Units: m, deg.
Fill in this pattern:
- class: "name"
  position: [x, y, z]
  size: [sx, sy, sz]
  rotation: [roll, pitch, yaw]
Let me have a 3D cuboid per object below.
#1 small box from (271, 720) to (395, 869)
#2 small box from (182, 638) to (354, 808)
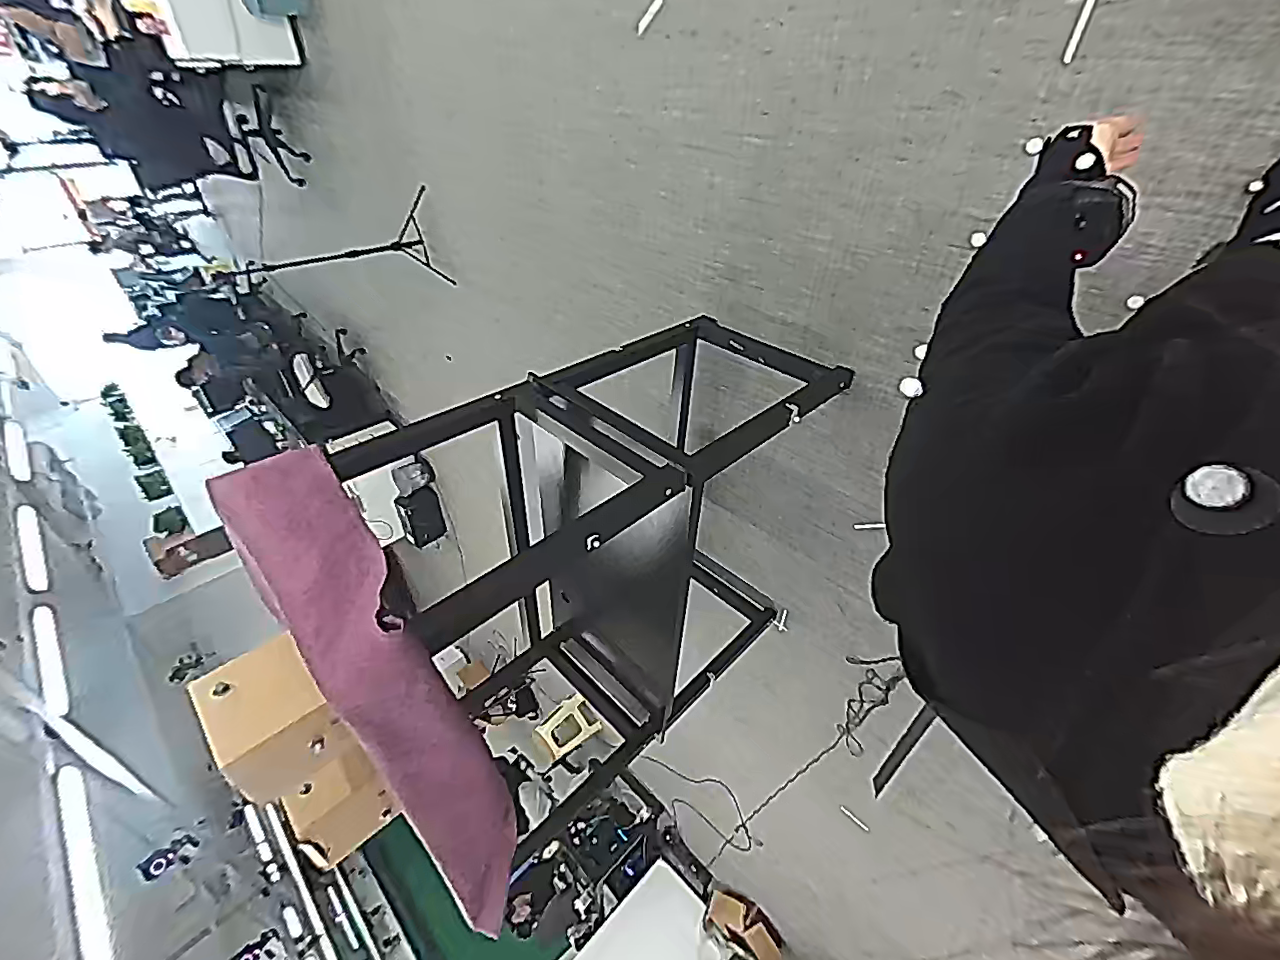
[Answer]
- class: "small box"
  position: [-0.636, 0.644, 1.127]
  size: [0.179, 0.176, 0.168]
  rotation: [30, 136, 37]
- class: "small box"
  position: [-0.615, 0.395, 0.909]
  size: [0.179, 0.176, 0.168]
  rotation: [36, 140, 30]
